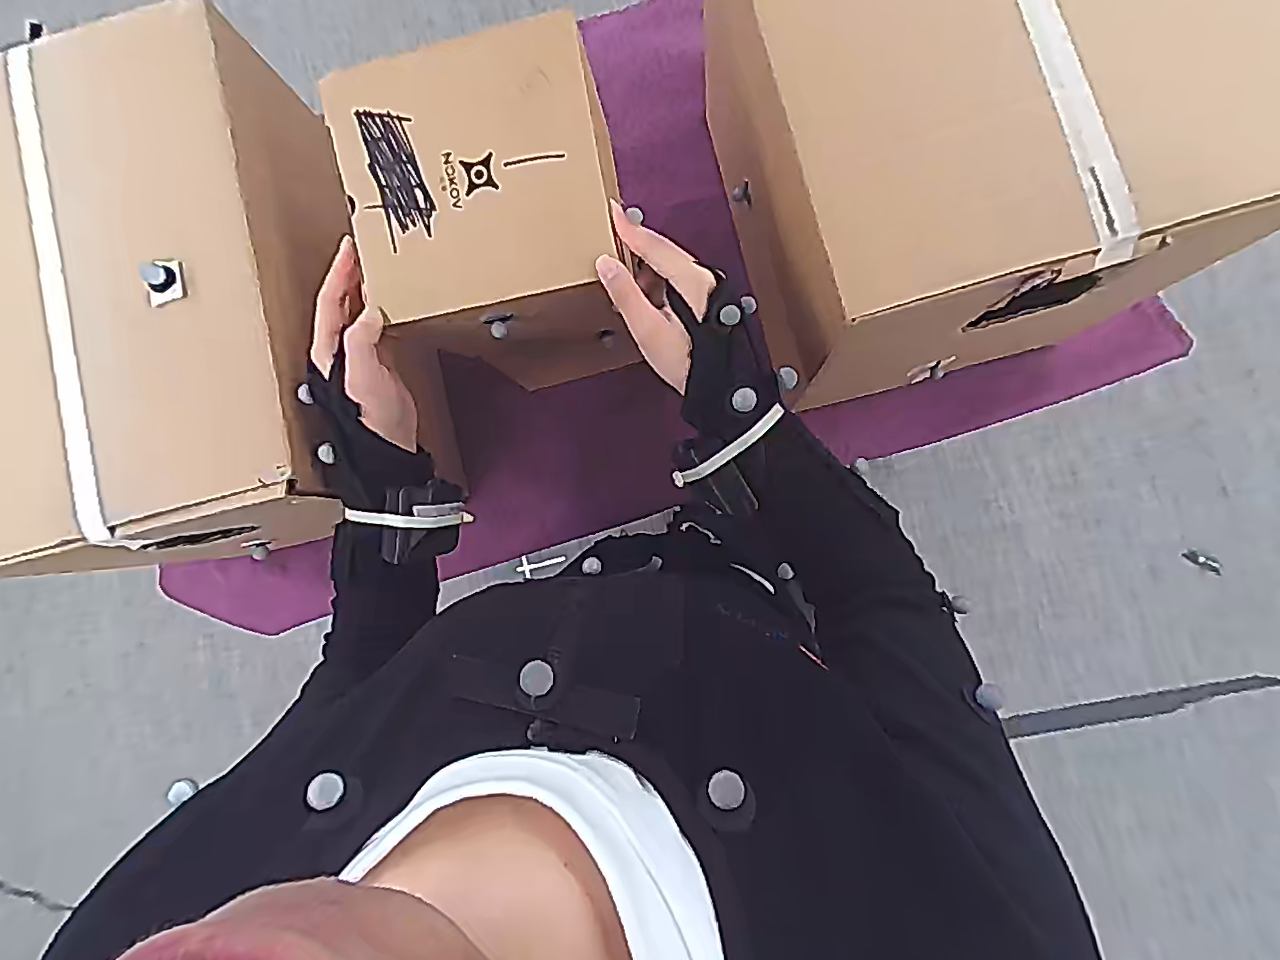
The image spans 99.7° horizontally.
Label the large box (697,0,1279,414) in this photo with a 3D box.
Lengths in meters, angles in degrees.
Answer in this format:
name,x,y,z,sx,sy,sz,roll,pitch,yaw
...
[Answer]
name,x,y,z,sx,sy,sz,roll,pitch,yaw
large box,0.250,-0.317,0.492,0.320,0.320,0.408,-15,83,6
